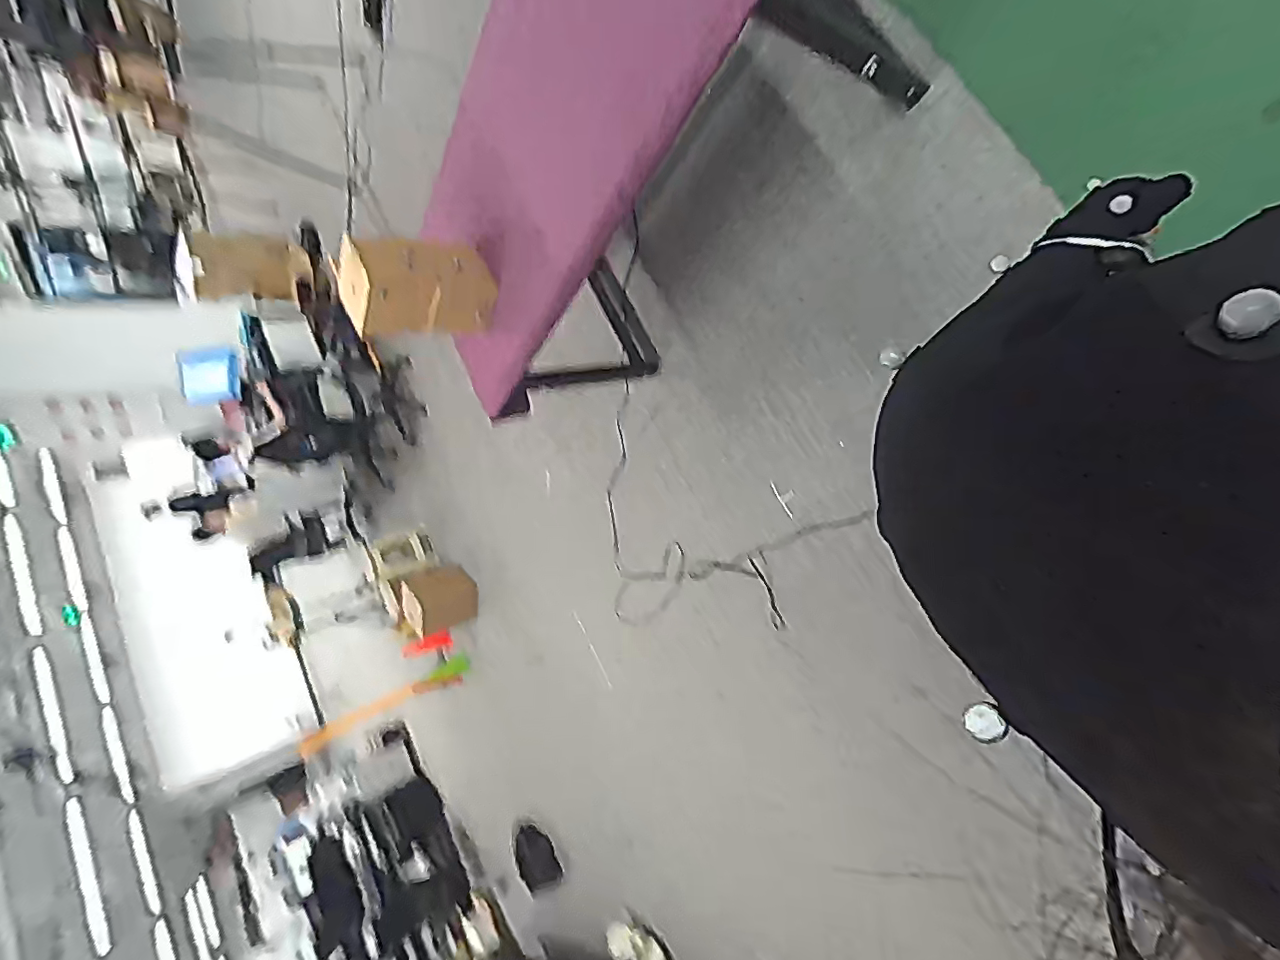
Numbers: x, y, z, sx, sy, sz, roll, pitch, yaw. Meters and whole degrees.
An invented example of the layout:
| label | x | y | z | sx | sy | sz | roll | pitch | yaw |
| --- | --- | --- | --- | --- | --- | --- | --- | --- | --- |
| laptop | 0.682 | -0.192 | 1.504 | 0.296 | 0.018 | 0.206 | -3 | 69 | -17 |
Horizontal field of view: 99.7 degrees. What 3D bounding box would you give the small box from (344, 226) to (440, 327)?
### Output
| label | x | y | z | sx | sy | sz | roll | pitch | yaw |
| --- | --- | --- | --- | --- | --- | --- | --- | --- | --- |
| small box | -0.625 | -0.507 | 1.364 | 0.168 | 0.176 | 0.179 | 57 | 136 | 18 |
